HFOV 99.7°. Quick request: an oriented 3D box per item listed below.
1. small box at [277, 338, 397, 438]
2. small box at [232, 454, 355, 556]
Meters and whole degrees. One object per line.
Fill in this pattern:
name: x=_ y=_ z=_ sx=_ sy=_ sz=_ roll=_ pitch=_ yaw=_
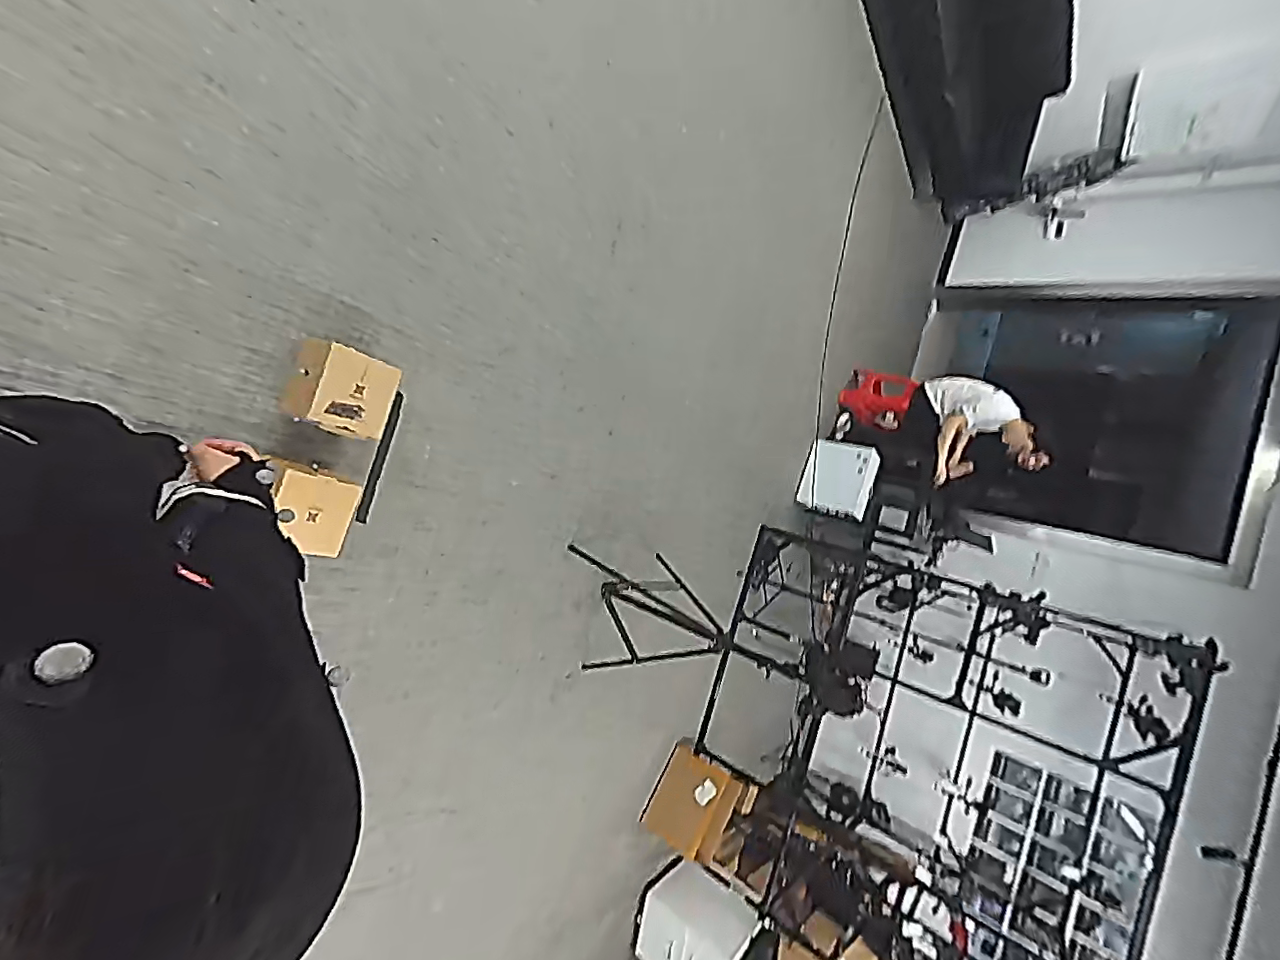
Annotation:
small box: x=-0.705 y=-0.213 z=1.251 sx=0.168 sy=0.176 sz=0.179 roll=23 pitch=82 yaw=-53
small box: x=-0.794 y=0.056 z=1.233 sx=0.168 sy=0.176 sz=0.179 roll=25 pitch=81 yaw=-52
